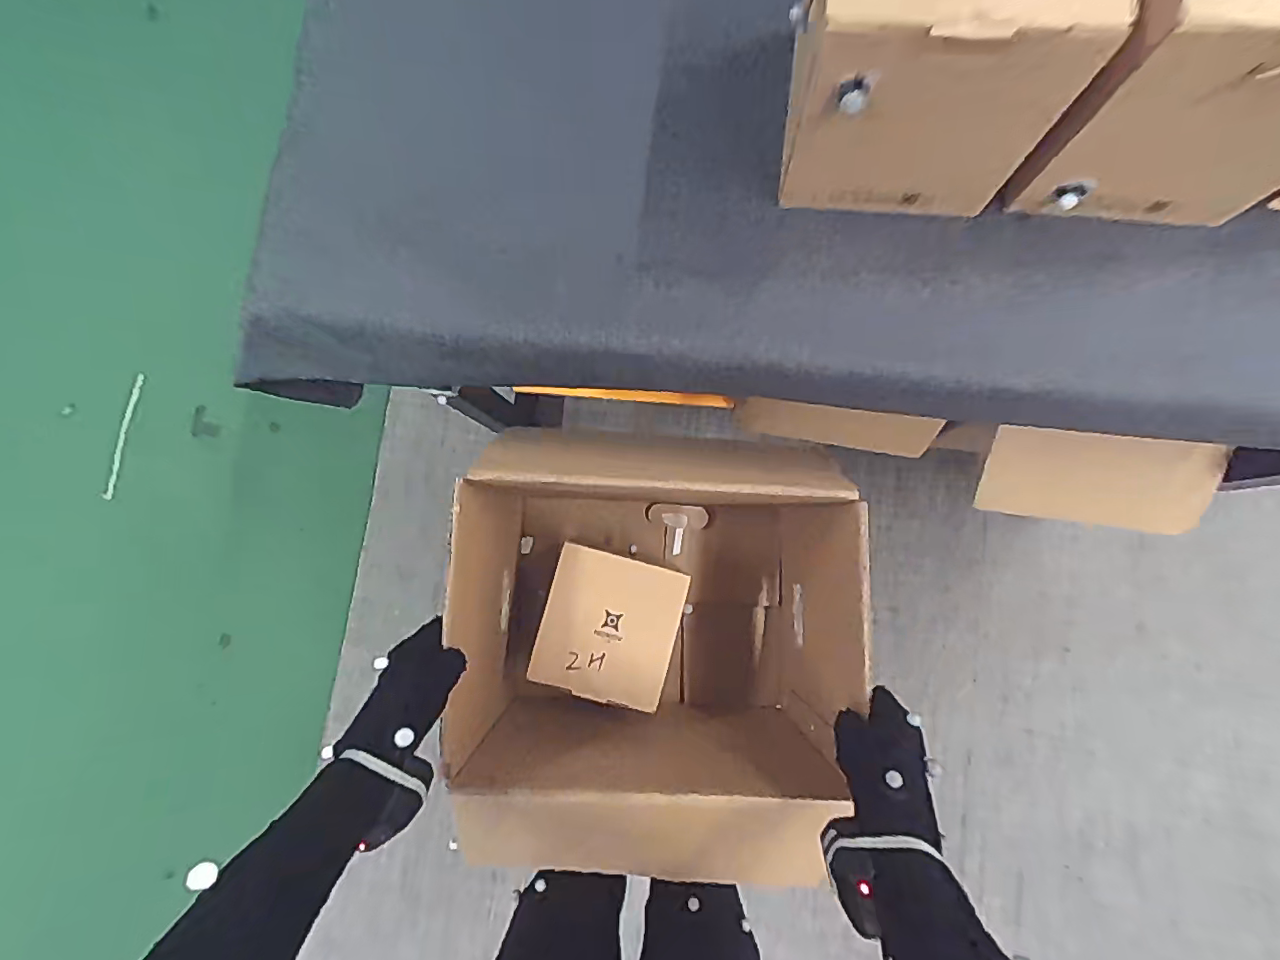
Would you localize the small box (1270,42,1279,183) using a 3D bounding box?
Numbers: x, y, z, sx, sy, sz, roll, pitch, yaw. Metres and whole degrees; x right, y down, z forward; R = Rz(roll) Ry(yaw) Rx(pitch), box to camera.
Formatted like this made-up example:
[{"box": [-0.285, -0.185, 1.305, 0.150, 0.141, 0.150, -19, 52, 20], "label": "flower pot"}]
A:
[{"box": [0.588, -0.306, 0.354, 0.168, 0.176, 0.179, 8, 84, 6], "label": "small box"}]
